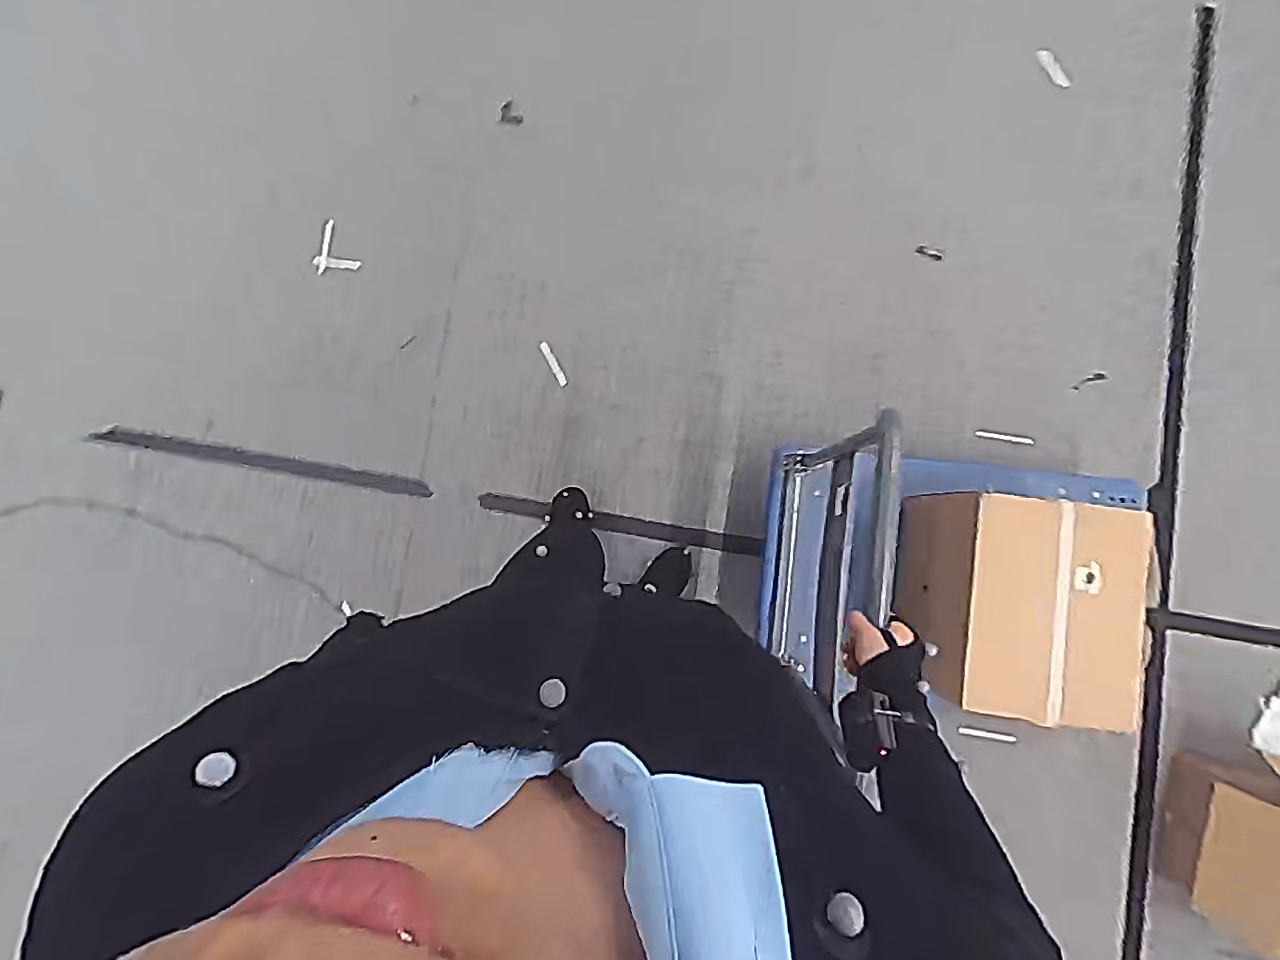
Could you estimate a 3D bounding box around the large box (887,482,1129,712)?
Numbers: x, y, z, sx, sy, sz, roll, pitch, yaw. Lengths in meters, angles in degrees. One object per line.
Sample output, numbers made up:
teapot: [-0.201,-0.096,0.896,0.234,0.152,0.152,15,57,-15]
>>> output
large box: [0.759,0.230,1.163,0.320,0.320,0.408,7,85,1]
